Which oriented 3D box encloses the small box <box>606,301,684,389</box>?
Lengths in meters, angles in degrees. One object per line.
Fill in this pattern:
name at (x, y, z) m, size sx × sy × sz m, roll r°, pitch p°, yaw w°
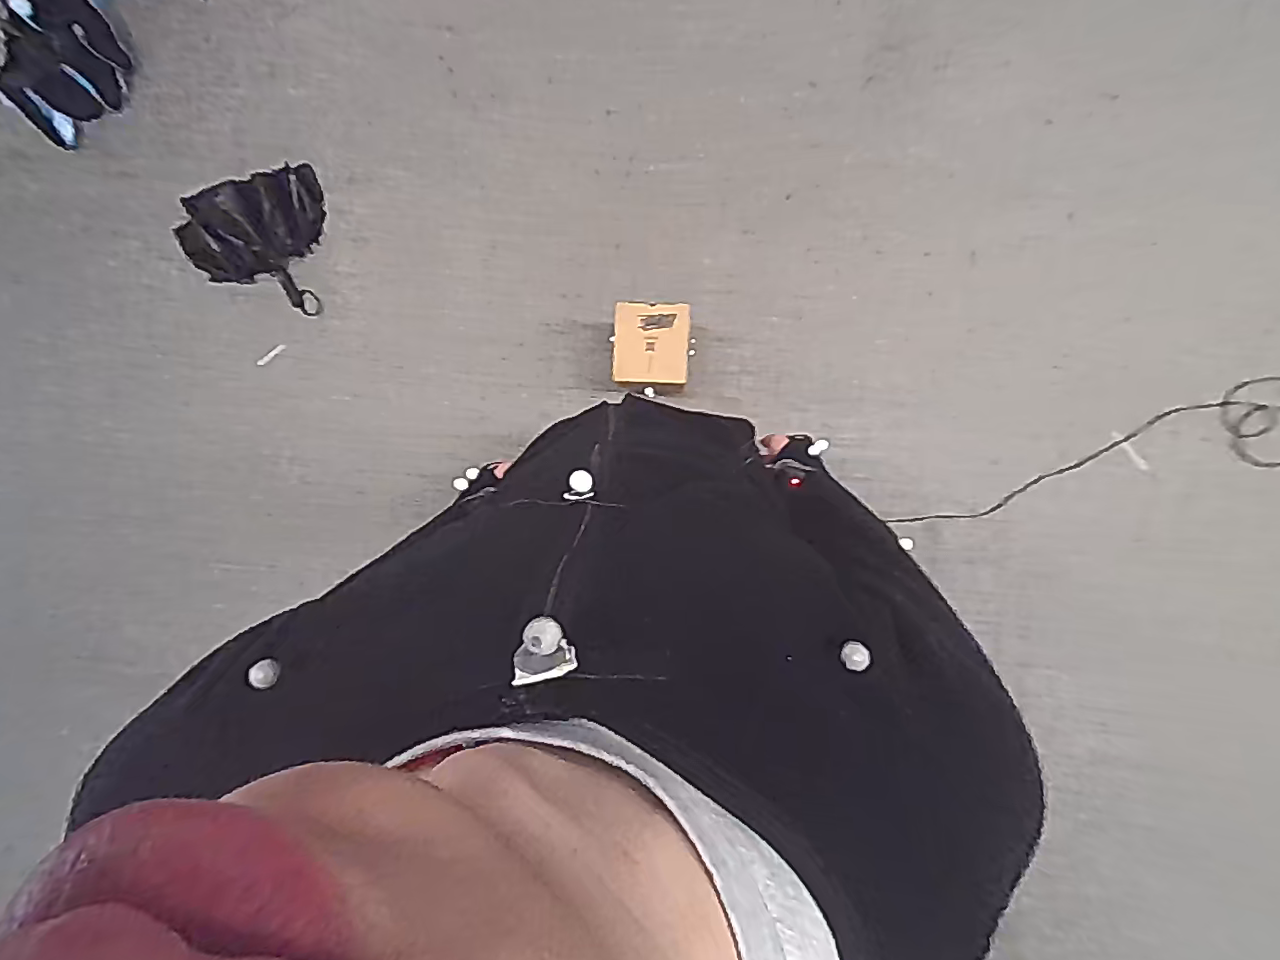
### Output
small box at (0.014, -0.315, 1.284) m, size 0.168 × 0.176 × 0.179 m, roll 3°, pitch 95°, yaw 3°
